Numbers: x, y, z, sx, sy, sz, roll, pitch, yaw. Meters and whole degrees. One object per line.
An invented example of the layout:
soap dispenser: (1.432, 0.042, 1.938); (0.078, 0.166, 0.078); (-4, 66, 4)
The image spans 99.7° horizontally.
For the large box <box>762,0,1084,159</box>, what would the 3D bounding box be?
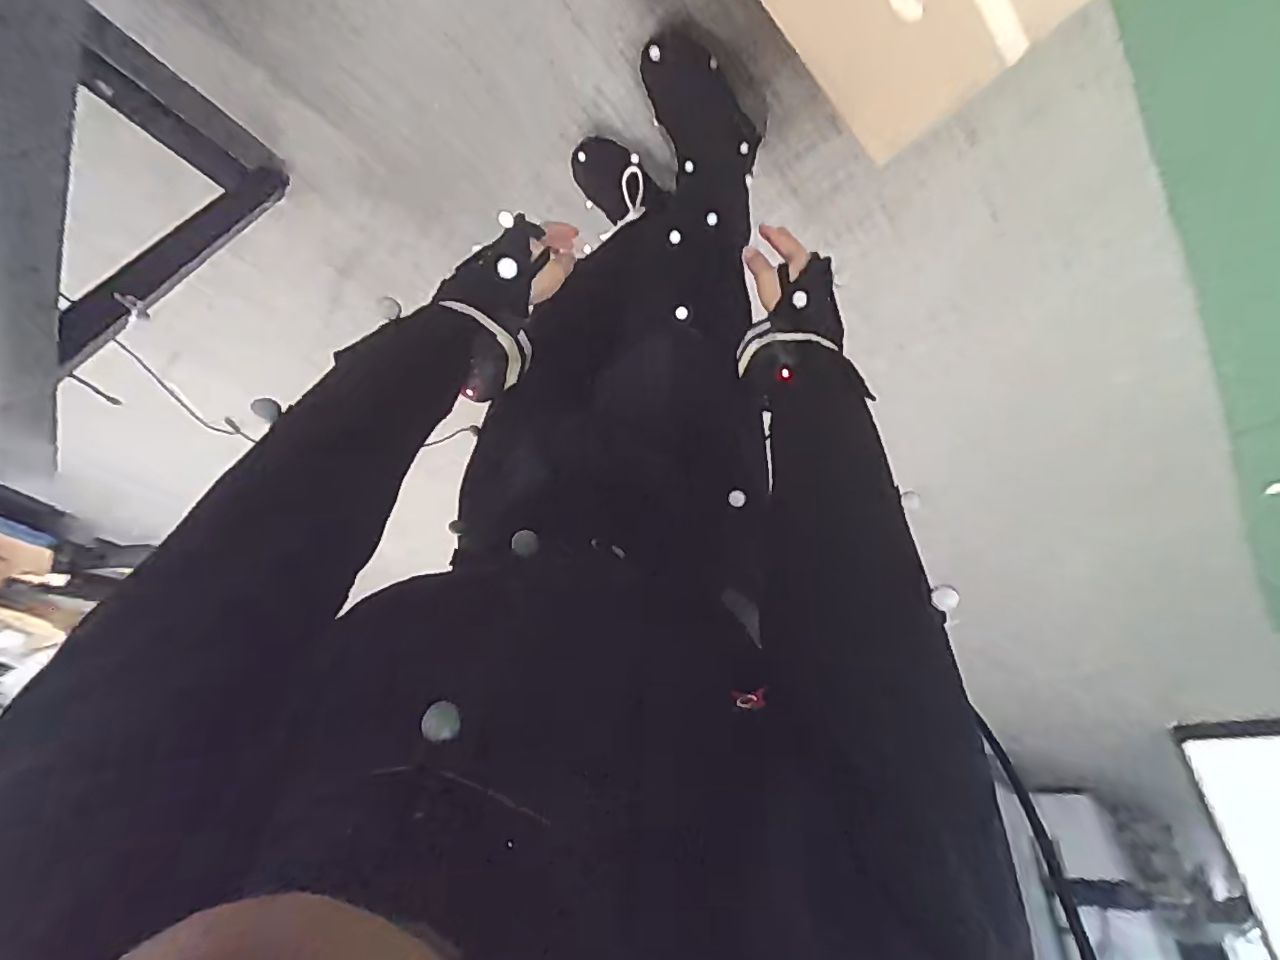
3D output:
large box: (0.268, -0.662, 0.570); (0.408, 0.320, 0.320); (34, 136, -28)
